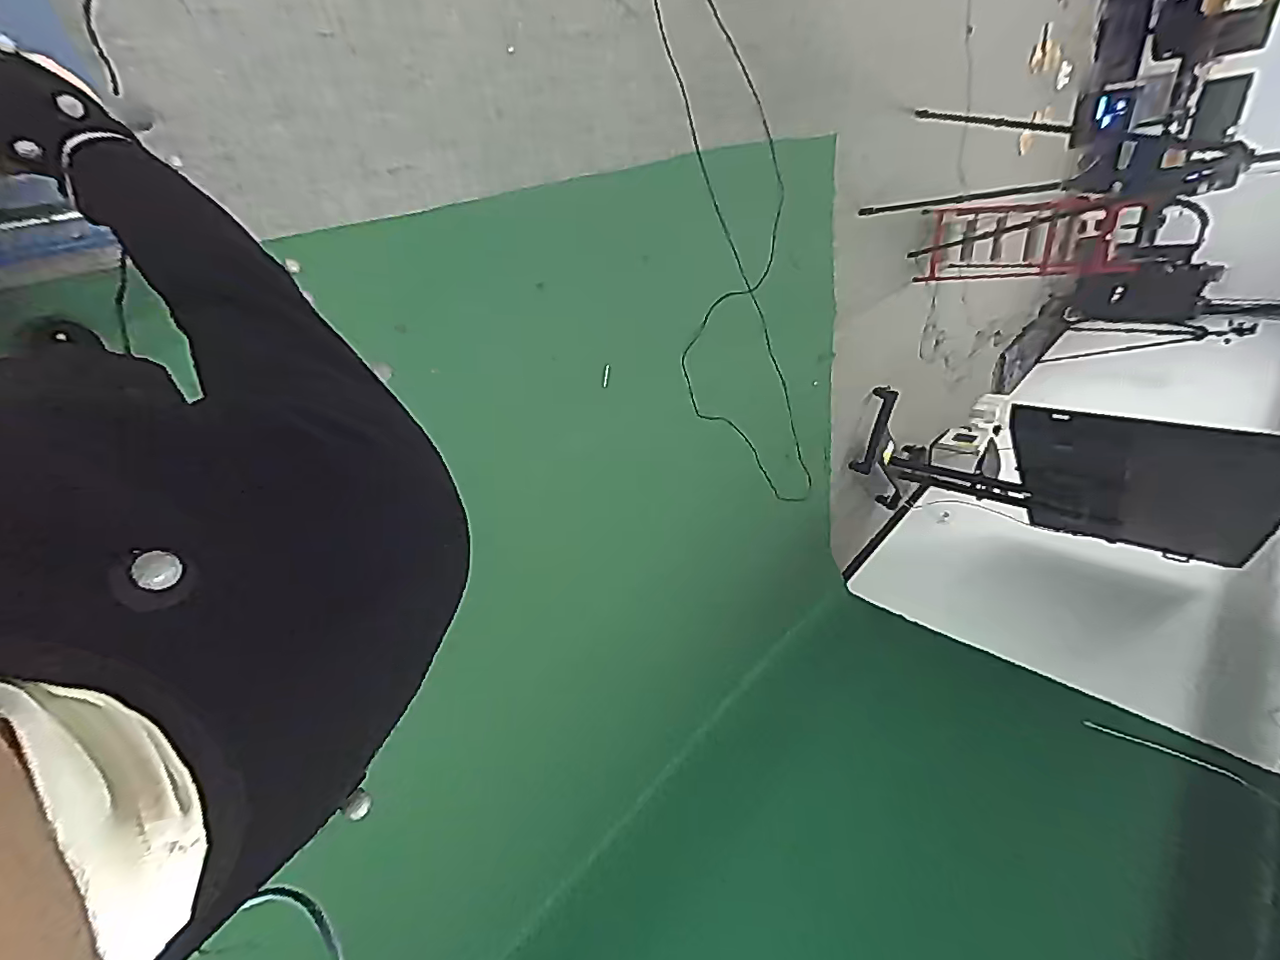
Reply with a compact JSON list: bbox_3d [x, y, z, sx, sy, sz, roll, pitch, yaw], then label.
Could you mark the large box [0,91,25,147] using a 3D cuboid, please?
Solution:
[{"bbox_3d":[-1.074,-0.617,0.627,0.320,0.320,0.408,-35,127,-32],"label":"large box"}]
